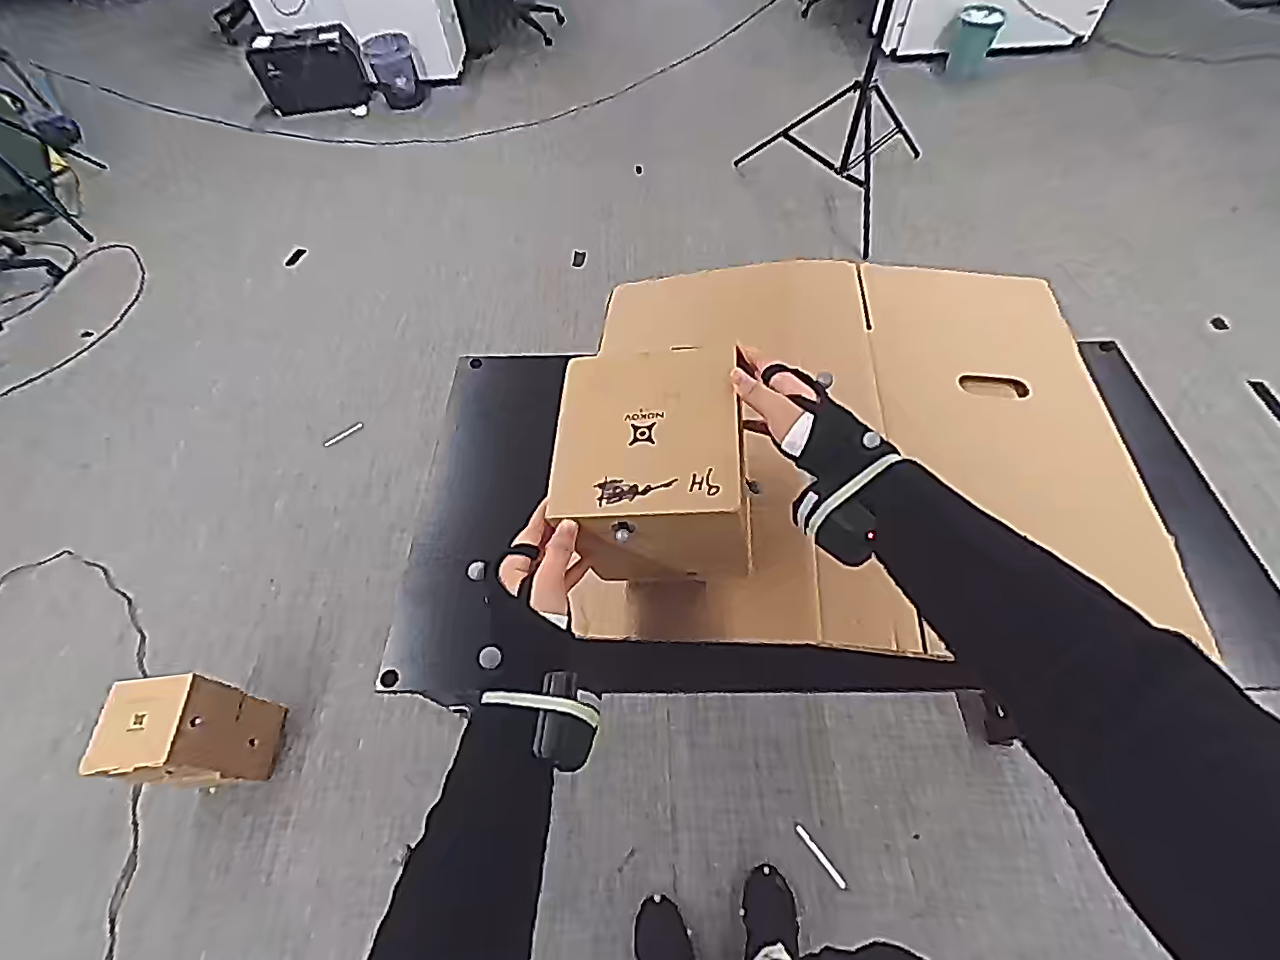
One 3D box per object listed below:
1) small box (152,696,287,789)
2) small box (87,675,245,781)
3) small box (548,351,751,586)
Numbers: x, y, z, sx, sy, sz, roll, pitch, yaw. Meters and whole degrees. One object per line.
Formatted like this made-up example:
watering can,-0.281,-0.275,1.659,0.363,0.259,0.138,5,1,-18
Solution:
small box,-0.984,0.628,1.288,0.168,0.176,0.179,-4,58,0
small box,-0.993,0.535,1.156,0.168,0.176,0.179,-6,56,-2
small box,0.024,-0.003,0.551,0.168,0.176,0.179,-3,60,14
